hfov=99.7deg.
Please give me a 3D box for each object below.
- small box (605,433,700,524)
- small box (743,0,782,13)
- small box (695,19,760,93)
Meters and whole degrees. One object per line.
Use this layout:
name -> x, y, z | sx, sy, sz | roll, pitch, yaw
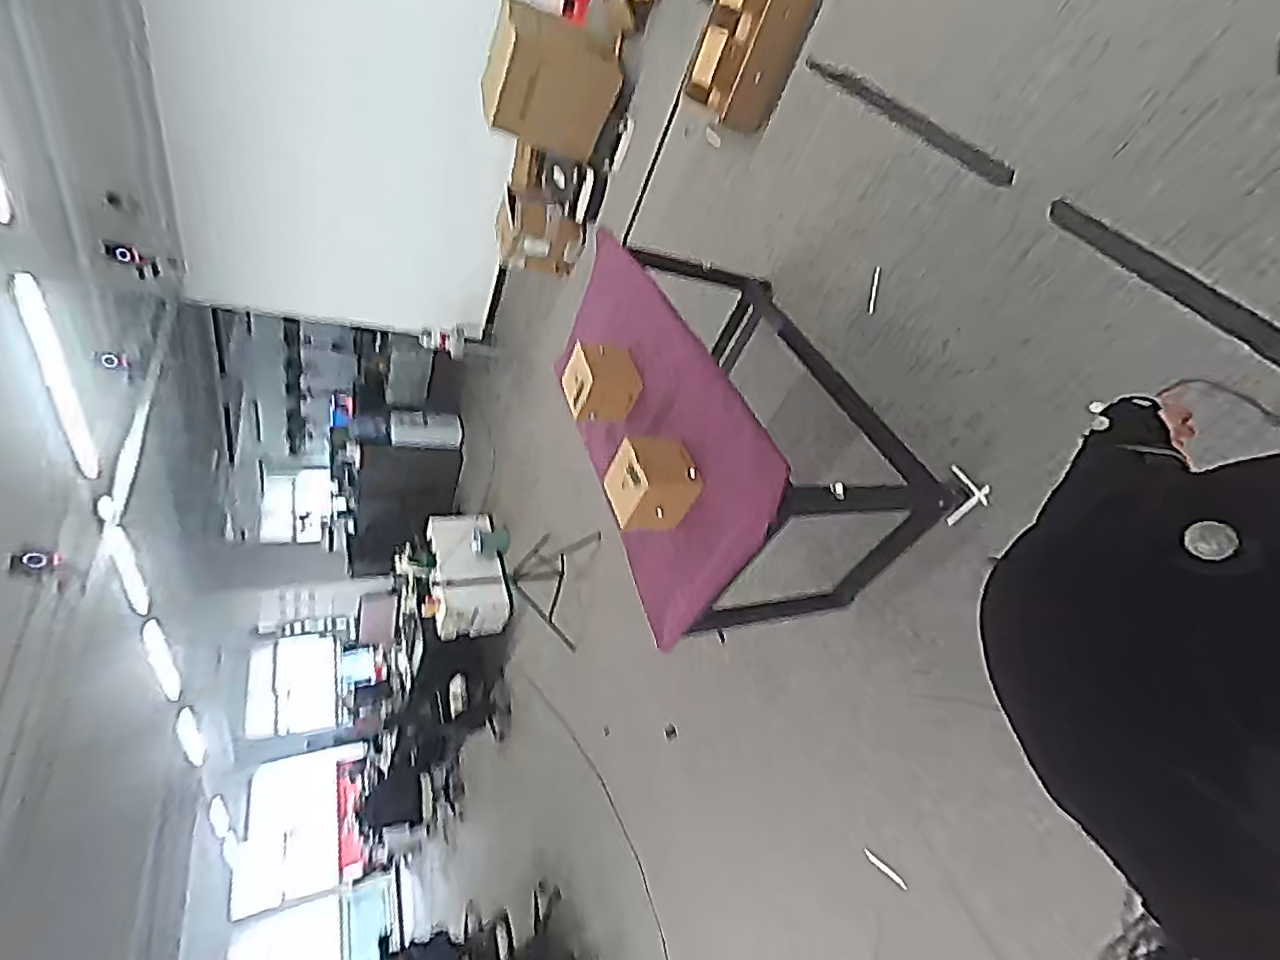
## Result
small box -> 0.035, -0.003, 1.402 | 0.179, 0.176, 0.168 | -60, 41, 40
small box -> 0.454, -1.904, 2.038 | 0.179, 0.176, 0.168 | 62, 140, 38
small box -> 0.359, -1.716, 2.190 | 0.168, 0.176, 0.179 | 61, 138, 40
